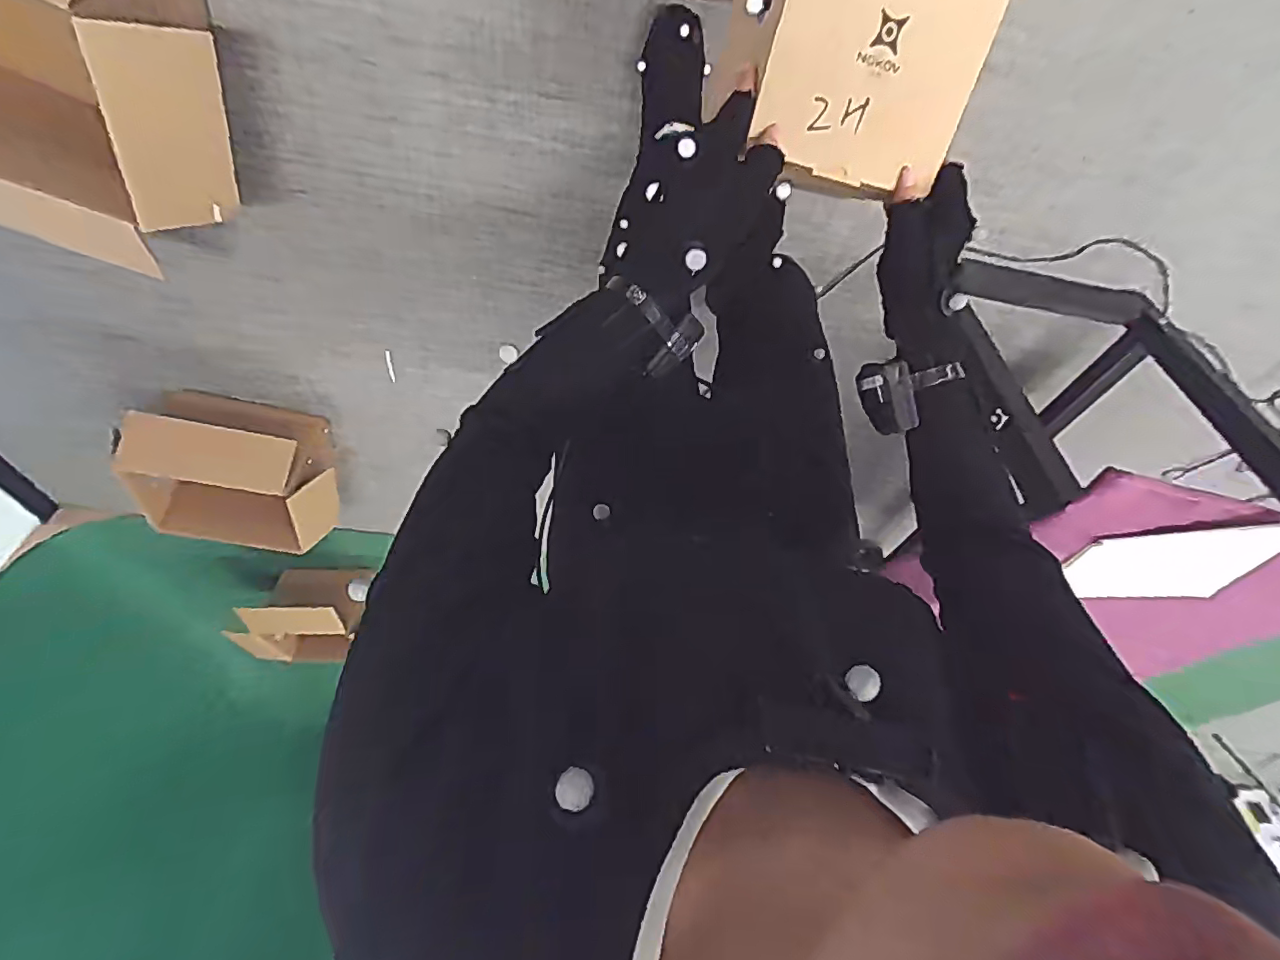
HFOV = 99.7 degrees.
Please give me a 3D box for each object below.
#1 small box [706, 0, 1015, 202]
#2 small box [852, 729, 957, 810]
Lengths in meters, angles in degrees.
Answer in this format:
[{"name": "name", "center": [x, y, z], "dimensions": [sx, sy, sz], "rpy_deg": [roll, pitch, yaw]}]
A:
[{"name": "small box", "center": [0.168, -0.356, 0.461], "dimensions": [0.168, 0.176, 0.179], "rpy_deg": [9, 118, -13]}, {"name": "small box", "center": [0.718, 0.797, 1.487], "dimensions": [0.179, 0.176, 0.168], "rpy_deg": [12, 139, -12]}]
